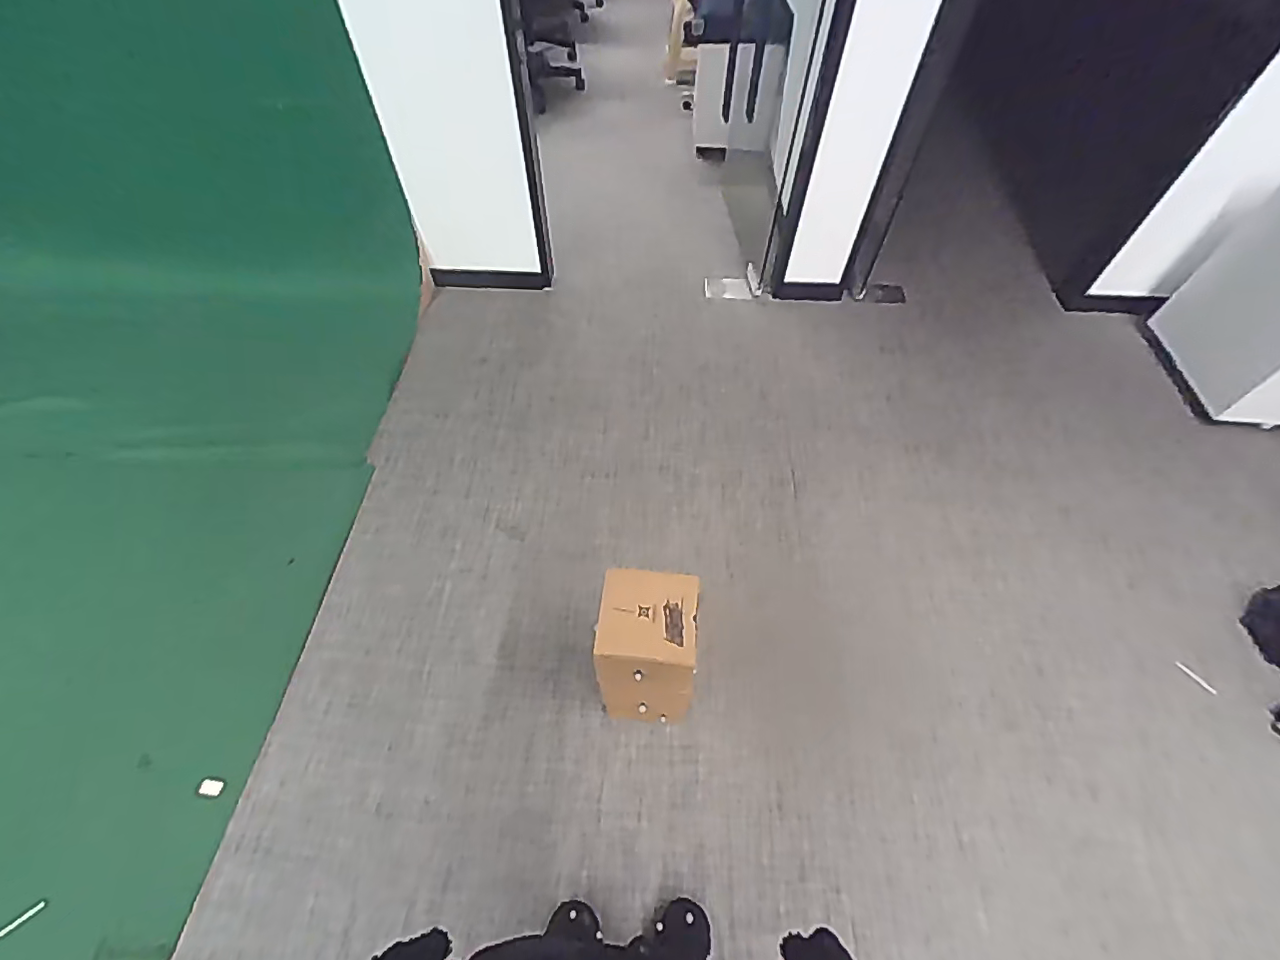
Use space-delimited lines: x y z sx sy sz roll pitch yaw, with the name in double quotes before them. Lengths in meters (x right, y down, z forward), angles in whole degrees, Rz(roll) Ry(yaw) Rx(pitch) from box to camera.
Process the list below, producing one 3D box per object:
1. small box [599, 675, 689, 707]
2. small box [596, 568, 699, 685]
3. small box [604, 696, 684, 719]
"small box" 0.014 0.378 1.158 0.179 0.176 0.168 8 55 4
"small box" 0.013 0.282 1.024 0.179 0.176 0.168 4 55 0
"small box" 0.014 0.466 1.296 0.179 0.176 0.168 3 55 3
